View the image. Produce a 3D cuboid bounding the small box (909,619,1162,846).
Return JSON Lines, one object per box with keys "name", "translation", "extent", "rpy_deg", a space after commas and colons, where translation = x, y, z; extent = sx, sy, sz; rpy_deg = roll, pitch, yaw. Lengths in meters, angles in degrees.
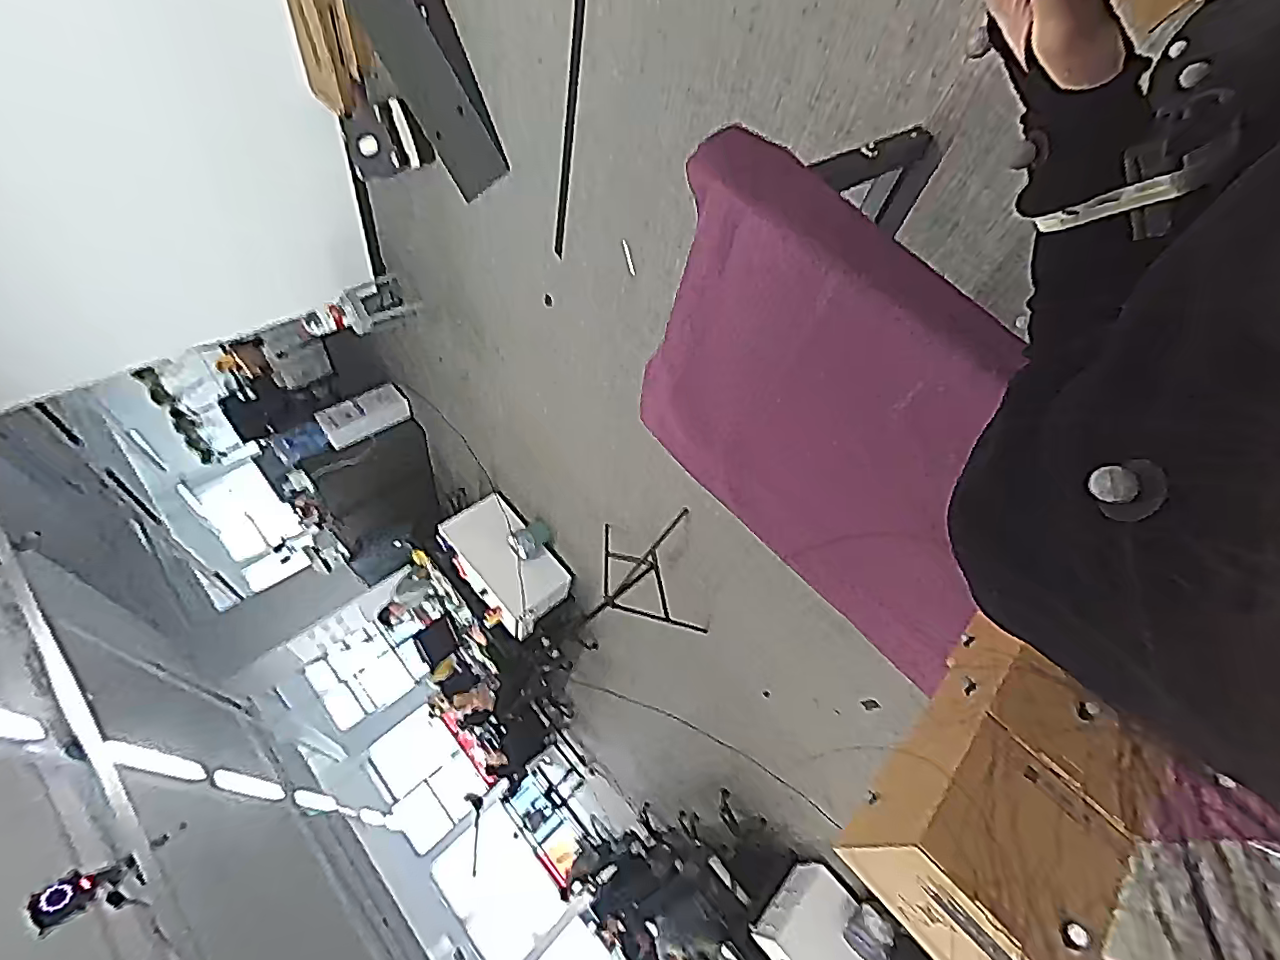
{"name": "small box", "translation": [0.477, 0.302, 0.660], "extent": [0.168, 0.176, 0.179], "rpy_deg": [42, 147, 22]}
